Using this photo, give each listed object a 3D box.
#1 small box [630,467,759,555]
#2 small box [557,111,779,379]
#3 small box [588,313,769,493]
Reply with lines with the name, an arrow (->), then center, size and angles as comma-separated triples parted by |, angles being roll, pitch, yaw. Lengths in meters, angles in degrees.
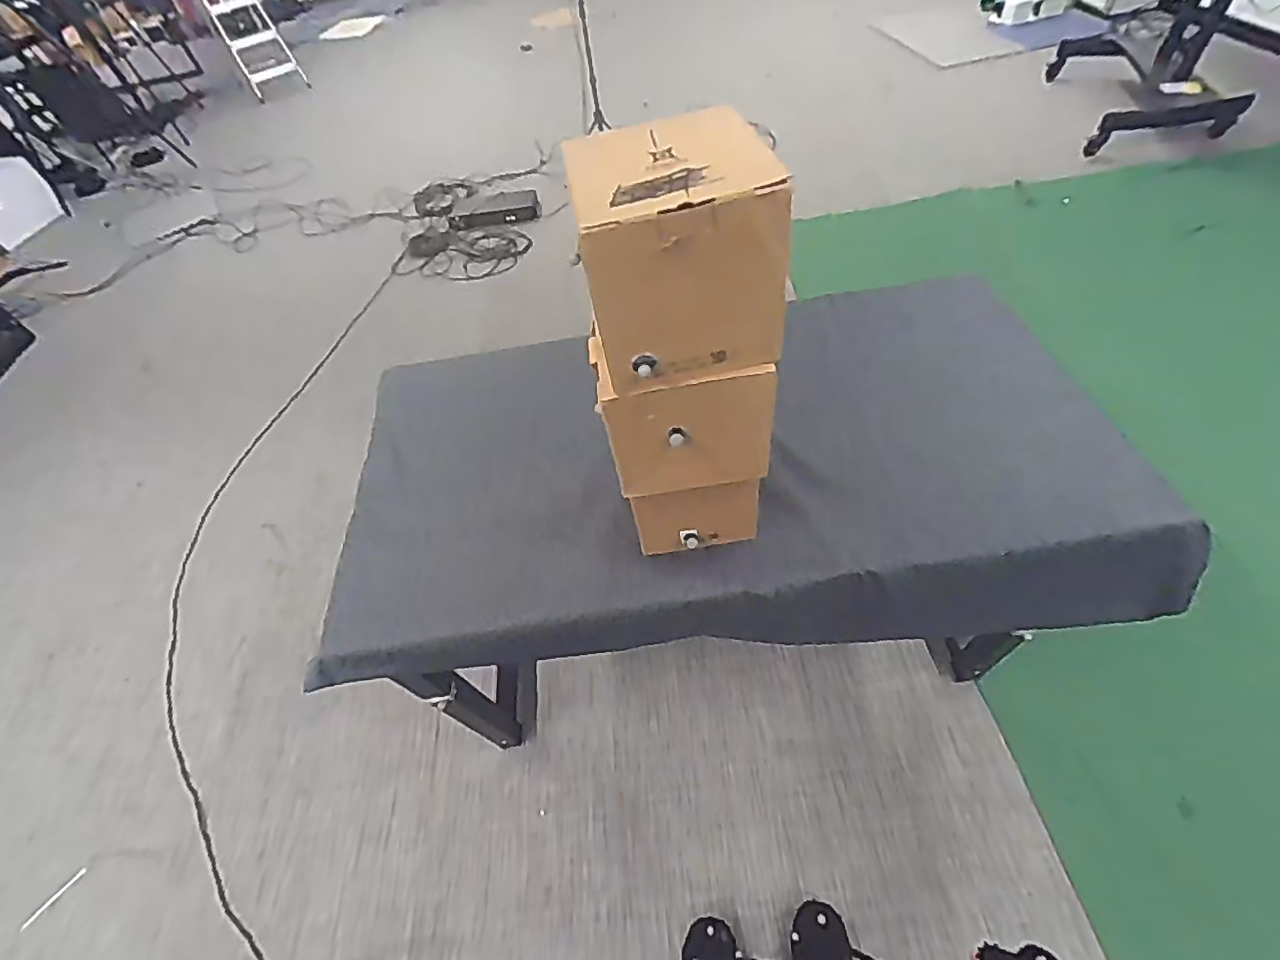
small box -> 0.065, -0.018, 0.778 | 0.168, 0.176, 0.179 | -11, 53, 2
small box -> 0.026, -0.215, 0.519 | 0.168, 0.176, 0.179 | -12, 50, 0
small box -> 0.045, -0.104, 0.643 | 0.179, 0.176, 0.168 | -11, 49, 0
